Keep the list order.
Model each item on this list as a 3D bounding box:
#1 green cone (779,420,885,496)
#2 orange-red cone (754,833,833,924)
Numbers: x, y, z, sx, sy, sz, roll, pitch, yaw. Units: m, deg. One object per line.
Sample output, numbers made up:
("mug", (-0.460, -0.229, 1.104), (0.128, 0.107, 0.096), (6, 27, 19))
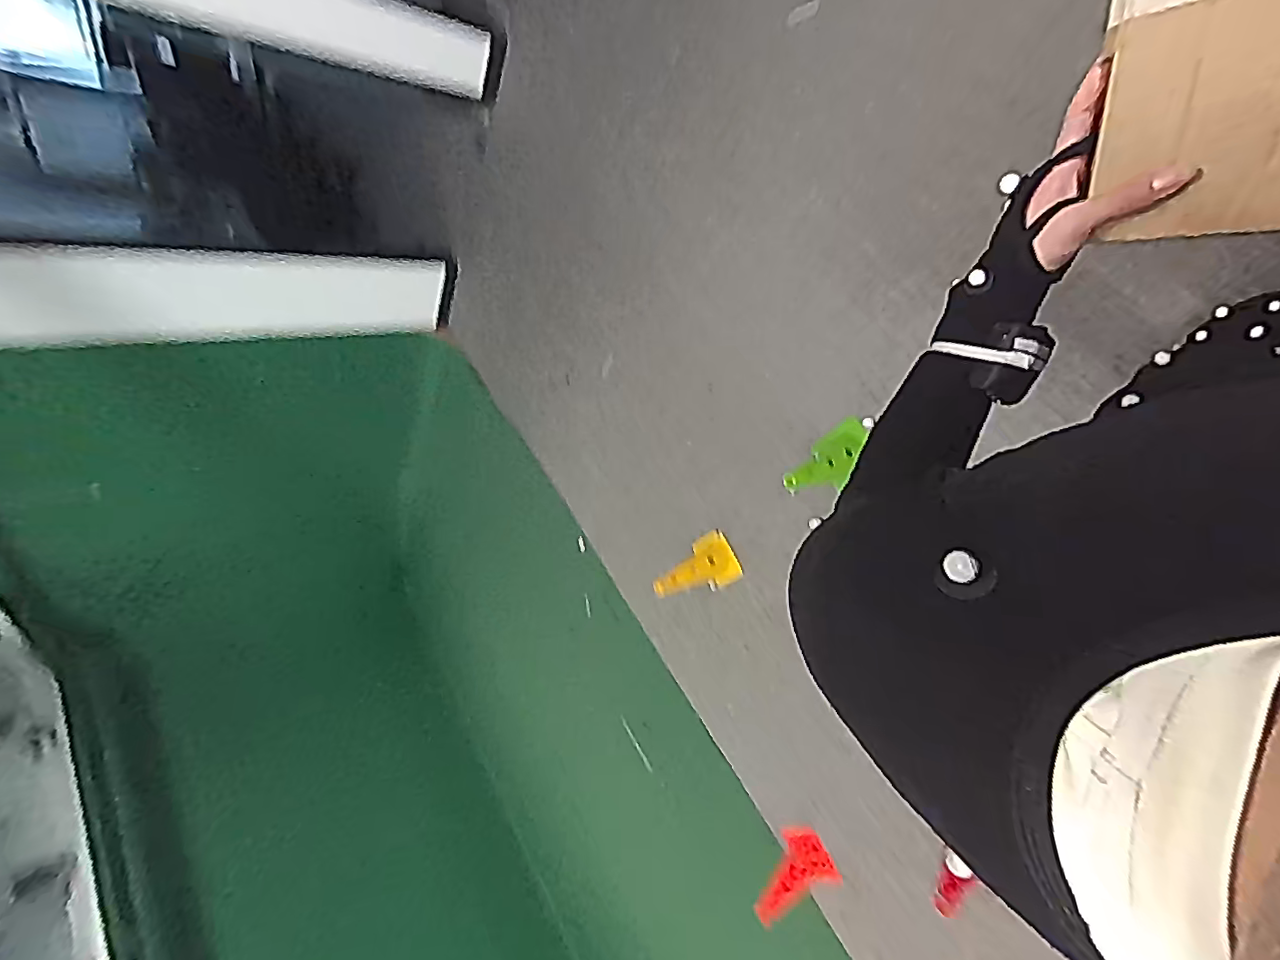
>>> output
("green cone", (0.545, -0.033, 1.648), (0.200, 0.368, 0.202), (60, 139, 16))
("orange-red cone", (0.572, 1.615, 2.149), (0.199, 0.360, 0.198), (59, 138, 14))
